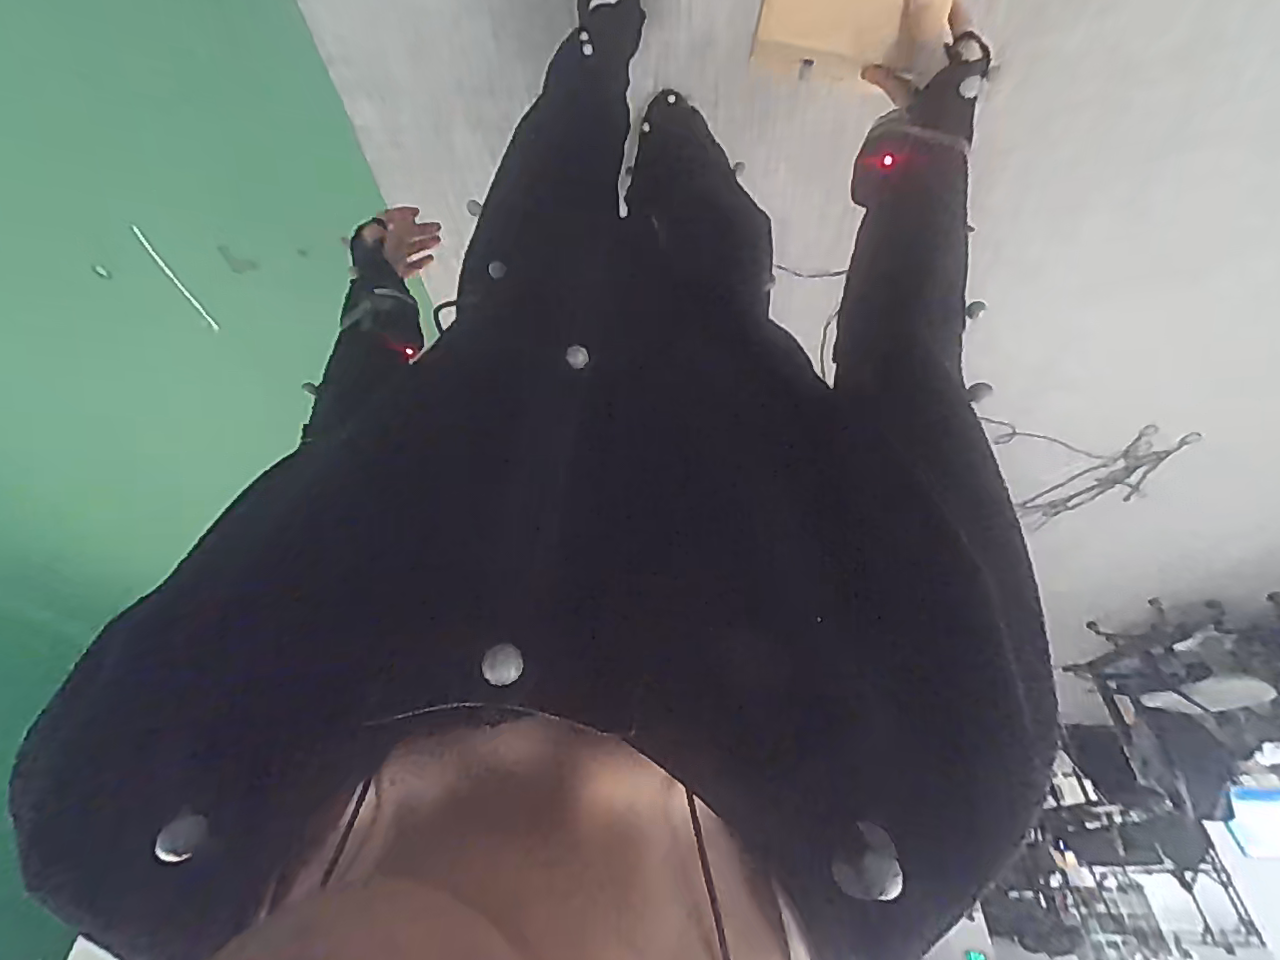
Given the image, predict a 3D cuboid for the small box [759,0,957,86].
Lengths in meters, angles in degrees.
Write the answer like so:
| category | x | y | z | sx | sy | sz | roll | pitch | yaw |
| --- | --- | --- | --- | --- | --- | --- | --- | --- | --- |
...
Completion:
| category | x | y | z | sx | sy | sz | roll | pitch | yaw |
| --- | --- | --- | --- | --- | --- | --- | --- | --- | --- |
| small box | 0.217 | -0.509 | 0.525 | 0.168 | 0.176 | 0.179 | 12 | 119 | 2 |
